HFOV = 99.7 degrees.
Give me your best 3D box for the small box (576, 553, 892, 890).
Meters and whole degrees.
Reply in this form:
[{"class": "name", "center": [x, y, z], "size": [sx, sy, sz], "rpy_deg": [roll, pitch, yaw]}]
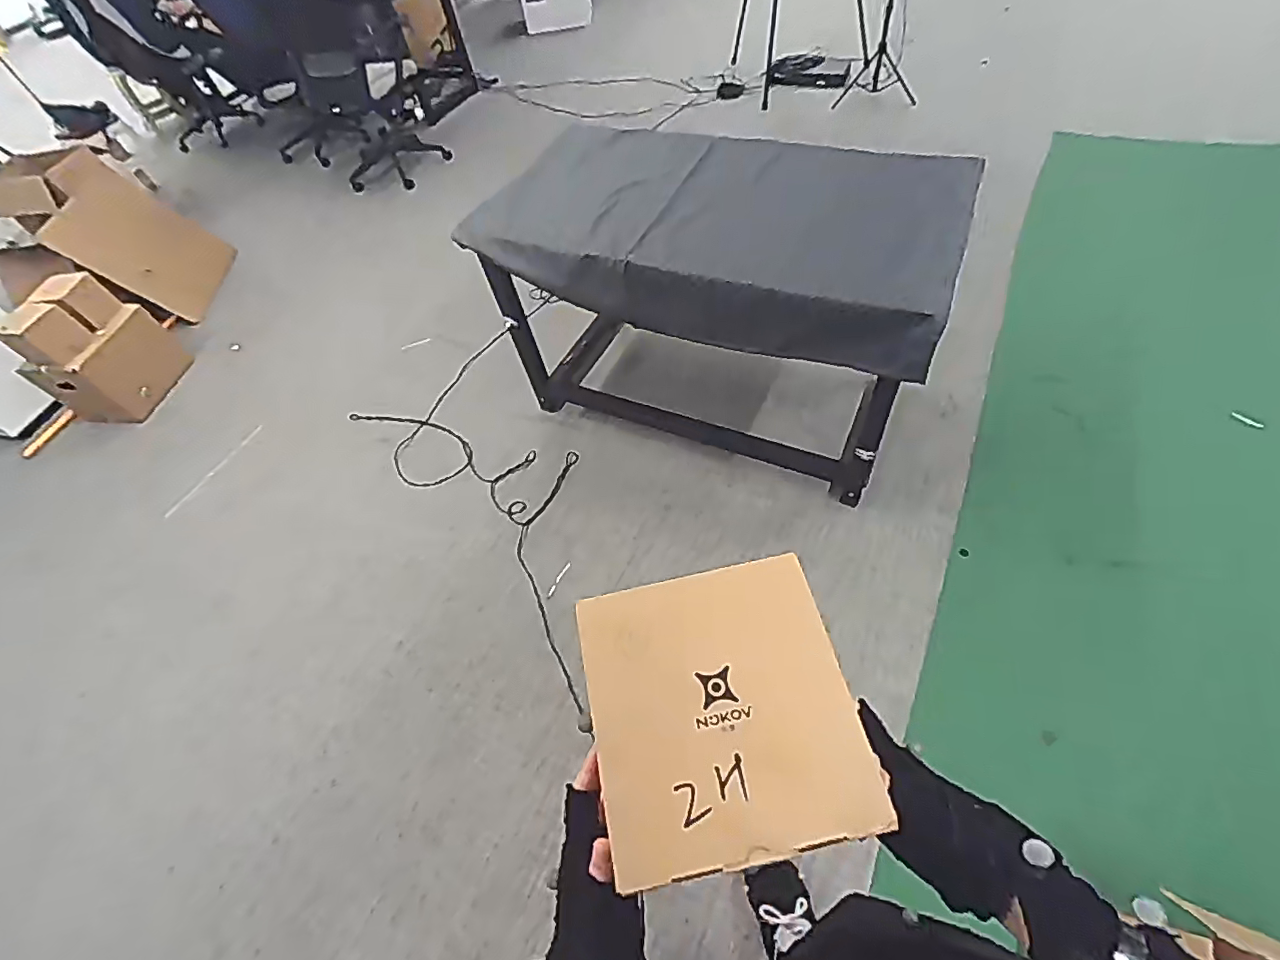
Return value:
[{"class": "small box", "center": [0.054, 0.181, 0.413], "size": [0.168, 0.176, 0.179], "rpy_deg": [-13, 59, -1]}]
